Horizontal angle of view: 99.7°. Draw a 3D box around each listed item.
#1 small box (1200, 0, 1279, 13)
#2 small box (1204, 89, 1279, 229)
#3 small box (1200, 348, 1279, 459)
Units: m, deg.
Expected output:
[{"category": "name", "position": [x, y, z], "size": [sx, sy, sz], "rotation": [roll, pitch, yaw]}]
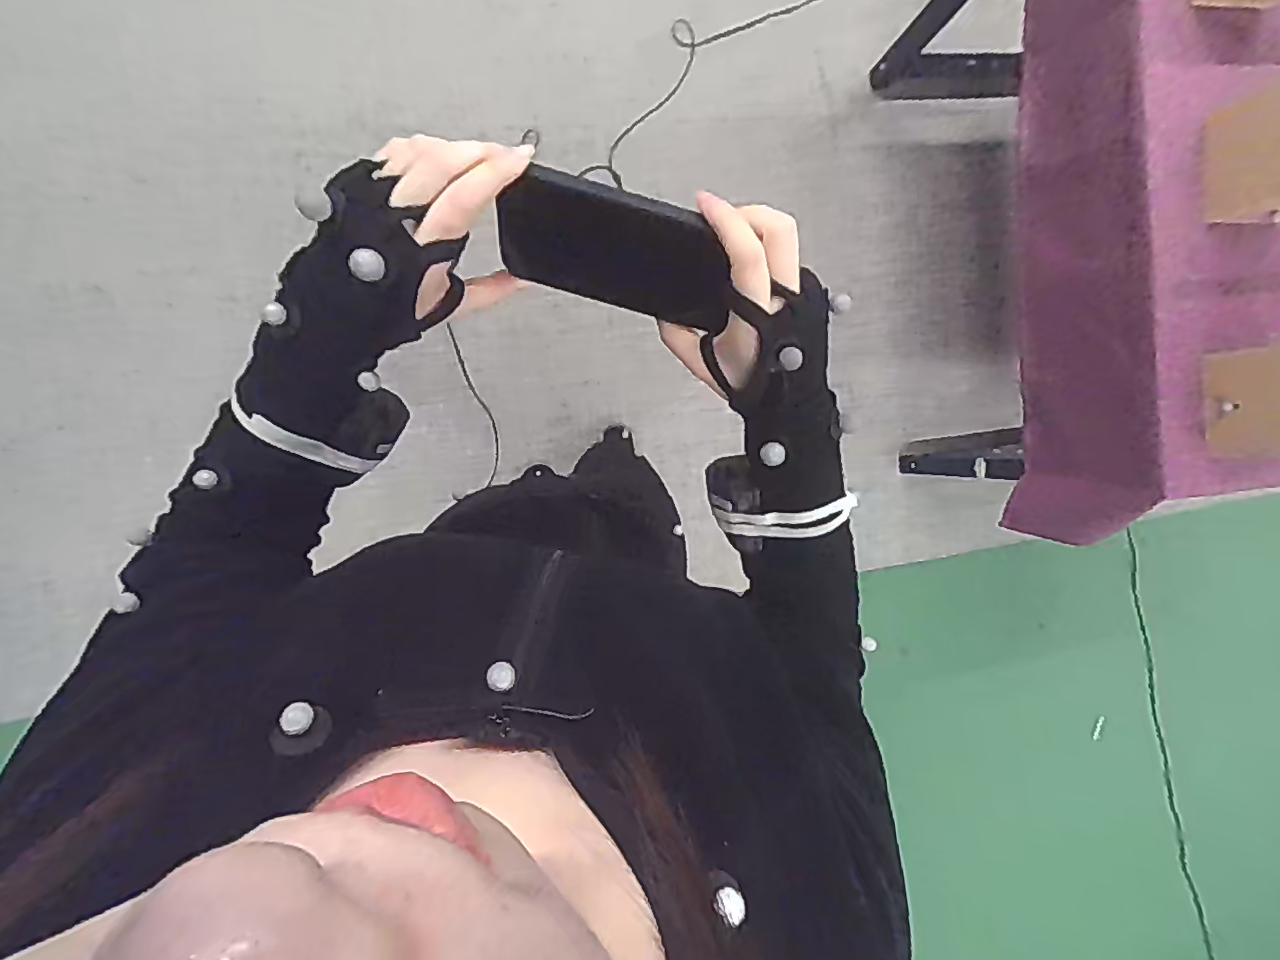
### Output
[{"category": "small box", "position": [0.991, -0.864, 0.813], "size": [0.168, 0.176, 0.179], "rotation": [-6, 96, -10]}, {"category": "small box", "position": [1.043, -0.516, 0.844], "size": [0.168, 0.176, 0.179], "rotation": [-4, 95, -10]}, {"category": "small box", "position": [1.063, -0.127, 0.873], "size": [0.168, 0.176, 0.179], "rotation": [-8, 95, -10]}]
